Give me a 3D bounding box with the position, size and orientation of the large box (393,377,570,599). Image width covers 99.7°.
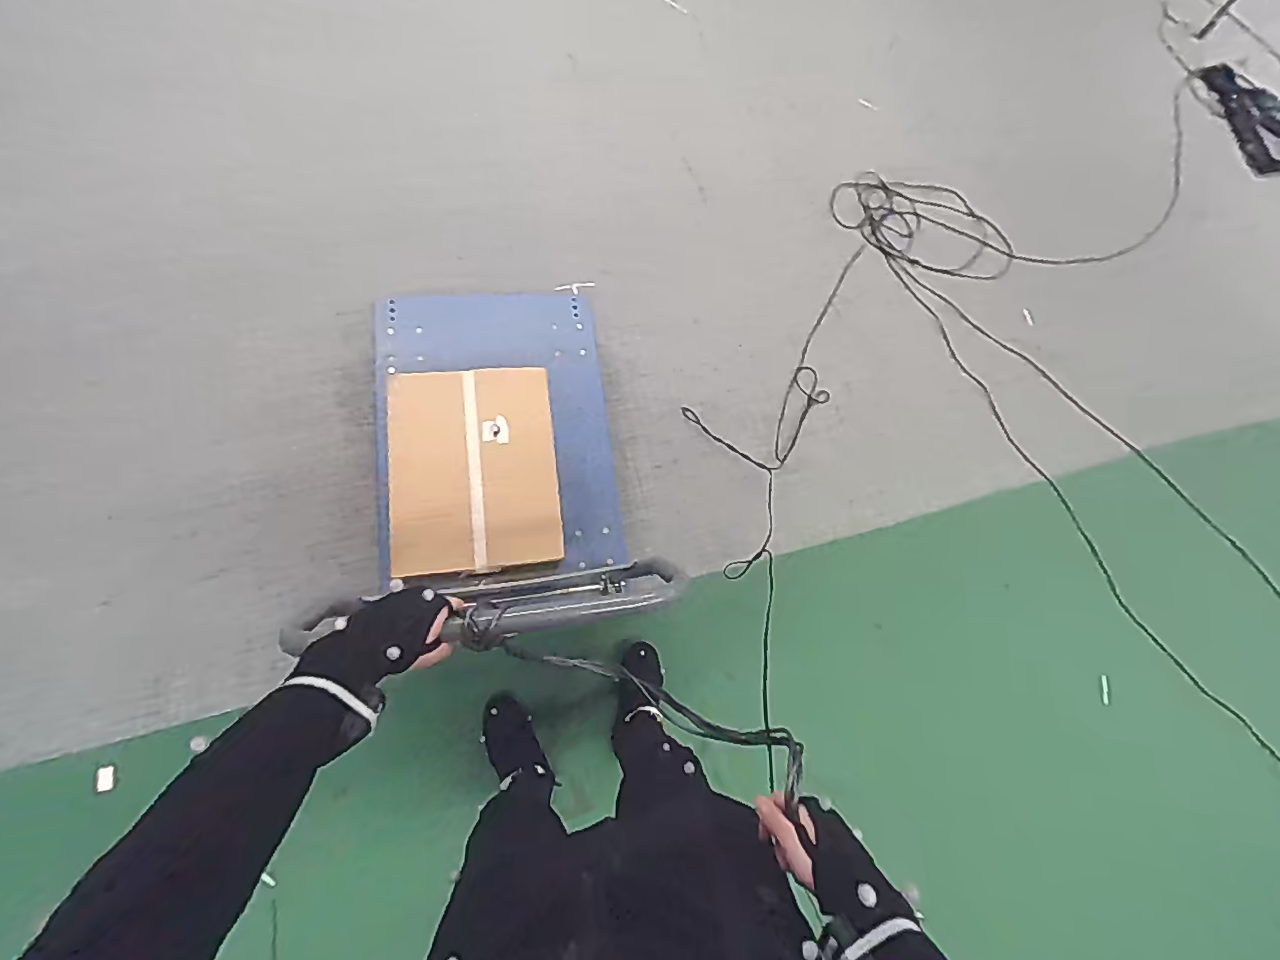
[{"bbox_3d":[-0.338,0.030,1.193,0.320,0.320,0.408,-5,74,-12],"label":"large box"}]
